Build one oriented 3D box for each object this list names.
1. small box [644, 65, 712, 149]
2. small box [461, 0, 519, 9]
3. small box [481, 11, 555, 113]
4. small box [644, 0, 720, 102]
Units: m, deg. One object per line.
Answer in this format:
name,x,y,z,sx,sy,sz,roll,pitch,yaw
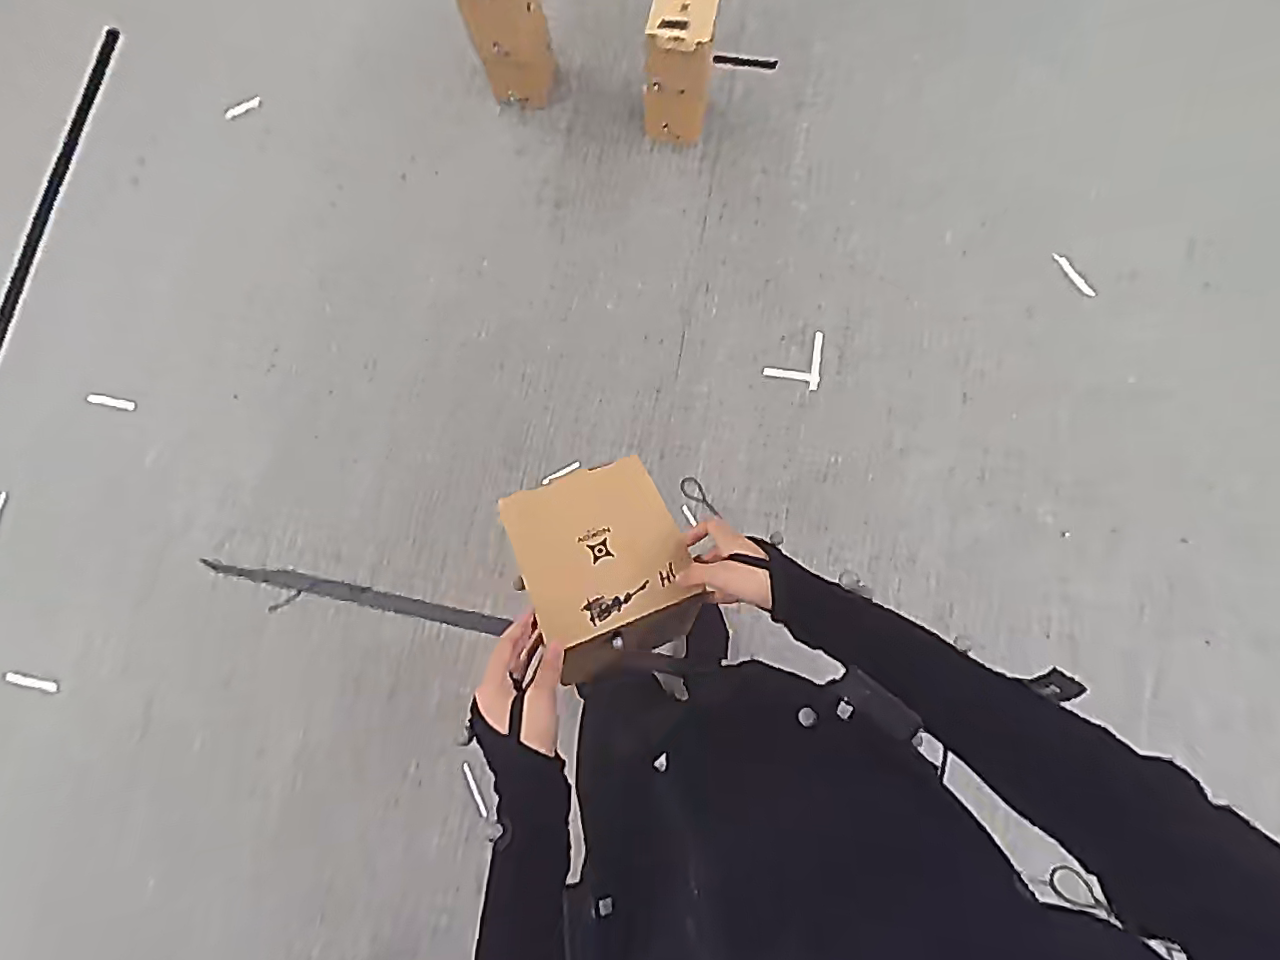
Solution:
small box,0.110,-1.135,1.610,0.168,0.176,0.179,13,82,4
small box,-0.384,-1.318,1.325,0.168,0.176,0.179,8,82,5
small box,-0.363,-1.272,1.649,0.168,0.176,0.179,8,81,4
small box,0.111,-1.160,1.448,0.168,0.176,0.179,12,82,3
